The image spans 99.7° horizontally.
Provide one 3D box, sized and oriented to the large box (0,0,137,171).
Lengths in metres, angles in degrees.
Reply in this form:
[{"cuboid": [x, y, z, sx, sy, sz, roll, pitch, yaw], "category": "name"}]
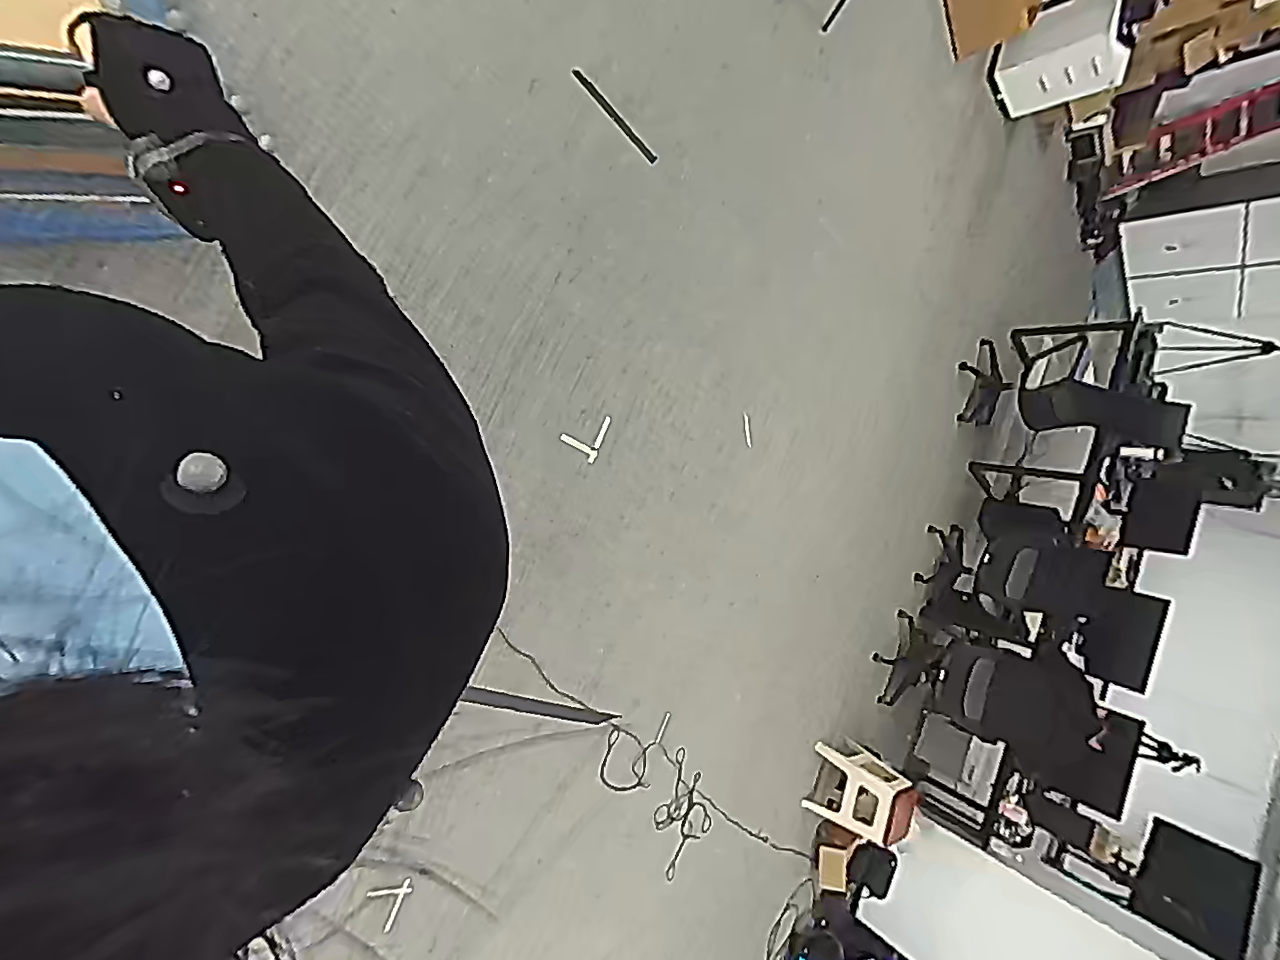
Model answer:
[{"cuboid": [-0.938, -0.601, 0.664, 0.408, 0.320, 0.320, -21, 112, -38], "category": "large box"}]
